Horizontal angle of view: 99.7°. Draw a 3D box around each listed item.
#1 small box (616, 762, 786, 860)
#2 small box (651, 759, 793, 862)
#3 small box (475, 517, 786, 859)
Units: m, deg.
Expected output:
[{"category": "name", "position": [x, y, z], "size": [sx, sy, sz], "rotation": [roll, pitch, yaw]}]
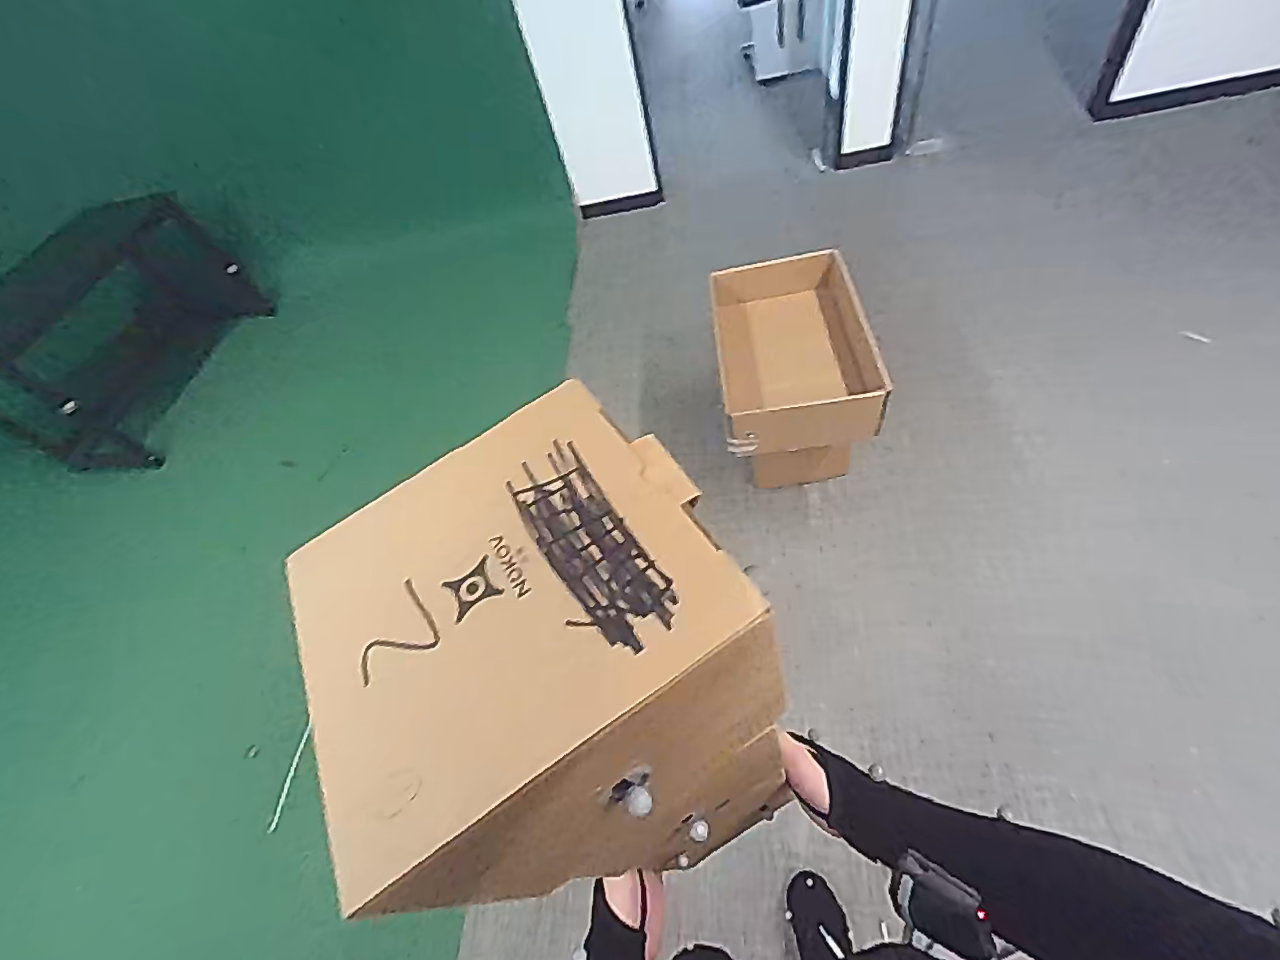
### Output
[{"category": "small box", "position": [0.038, 0.260, 0.561], "size": [0.168, 0.176, 0.179], "rotation": [-27, 51, -4]}, {"category": "small box", "position": [0.079, 0.357, 0.688], "size": [0.179, 0.176, 0.168], "rotation": [-29, 52, -5]}, {"category": "small box", "position": [-0.002, 0.169, 0.430], "size": [0.168, 0.176, 0.179], "rotation": [-30, 52, -4]}]
